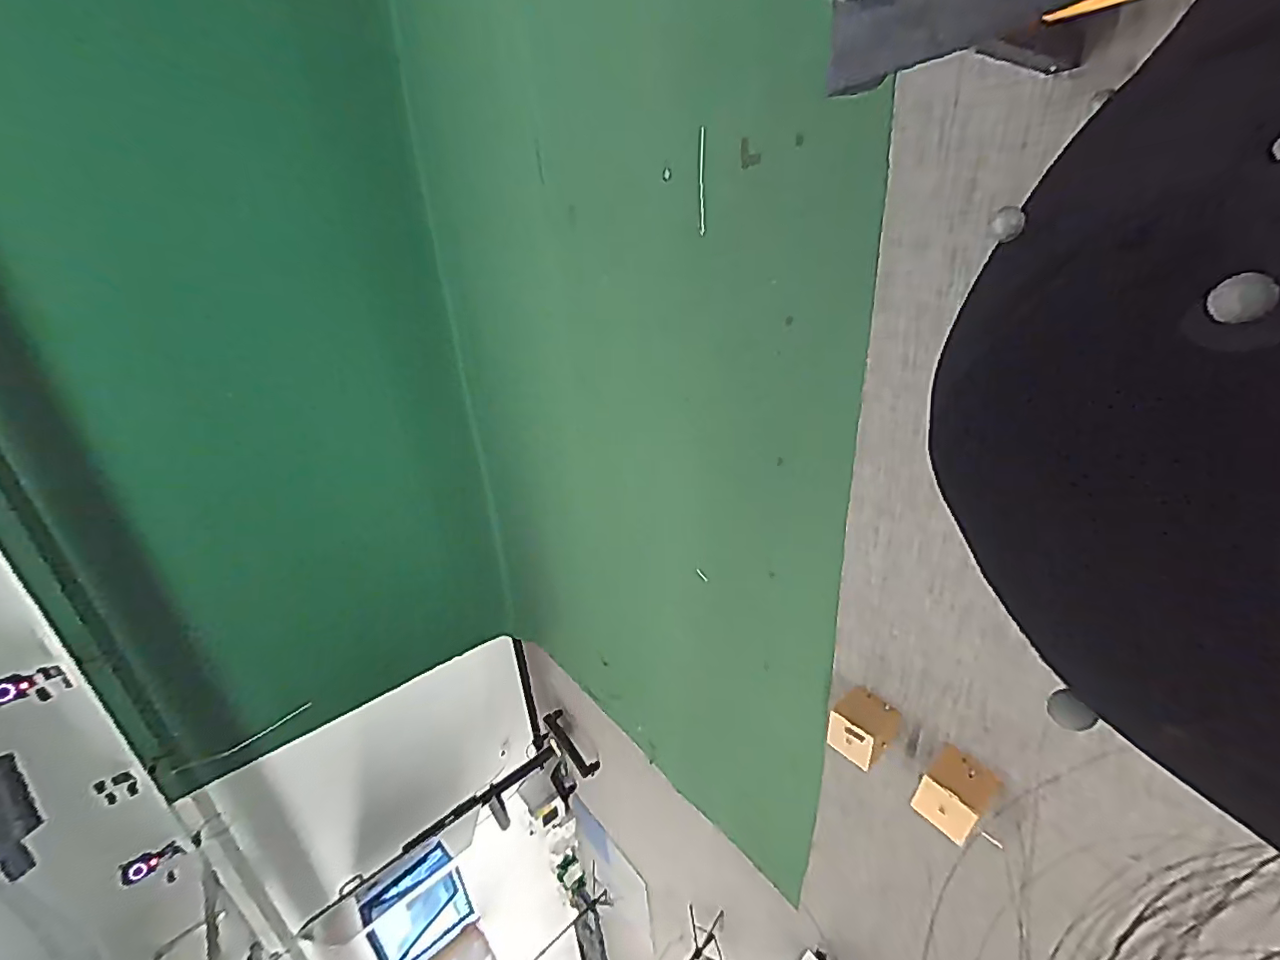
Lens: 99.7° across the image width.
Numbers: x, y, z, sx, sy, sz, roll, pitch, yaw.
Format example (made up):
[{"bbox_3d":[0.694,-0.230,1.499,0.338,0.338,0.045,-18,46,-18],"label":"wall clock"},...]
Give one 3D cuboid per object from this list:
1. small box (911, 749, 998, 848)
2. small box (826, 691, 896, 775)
[{"bbox_3d":[0.998,1.006,1.716,0.168,0.176,0.179,31,130,42],"label":"small box"},{"bbox_3d":[0.793,0.898,1.936,0.168,0.176,0.179,26,128,45],"label":"small box"}]
